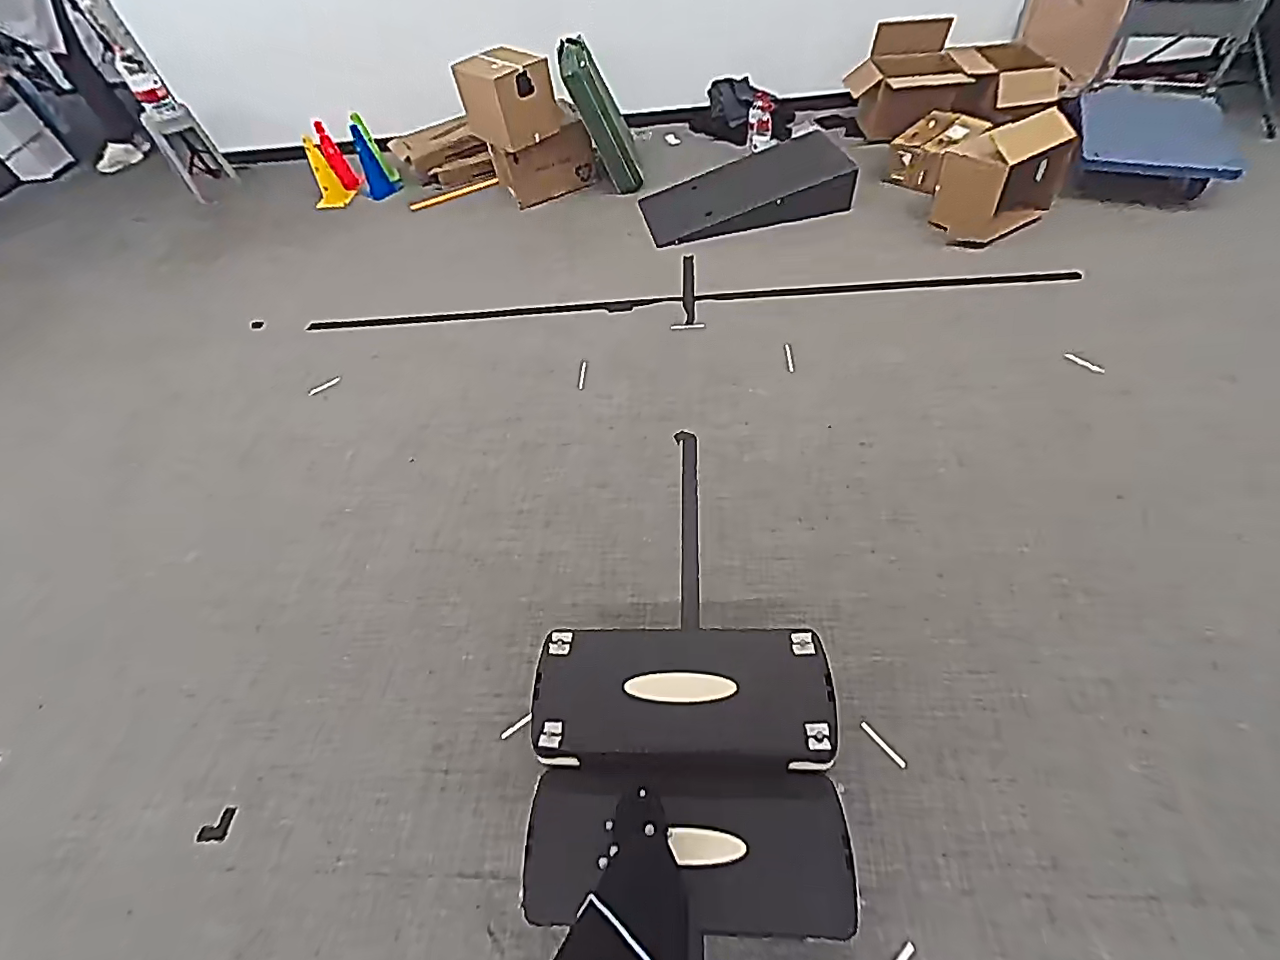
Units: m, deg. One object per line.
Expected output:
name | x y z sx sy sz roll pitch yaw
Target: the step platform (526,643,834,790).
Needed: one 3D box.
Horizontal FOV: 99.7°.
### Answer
step platform | 0.085 0.542 1.253 0.684 0.204 0.286 -2 53 4
